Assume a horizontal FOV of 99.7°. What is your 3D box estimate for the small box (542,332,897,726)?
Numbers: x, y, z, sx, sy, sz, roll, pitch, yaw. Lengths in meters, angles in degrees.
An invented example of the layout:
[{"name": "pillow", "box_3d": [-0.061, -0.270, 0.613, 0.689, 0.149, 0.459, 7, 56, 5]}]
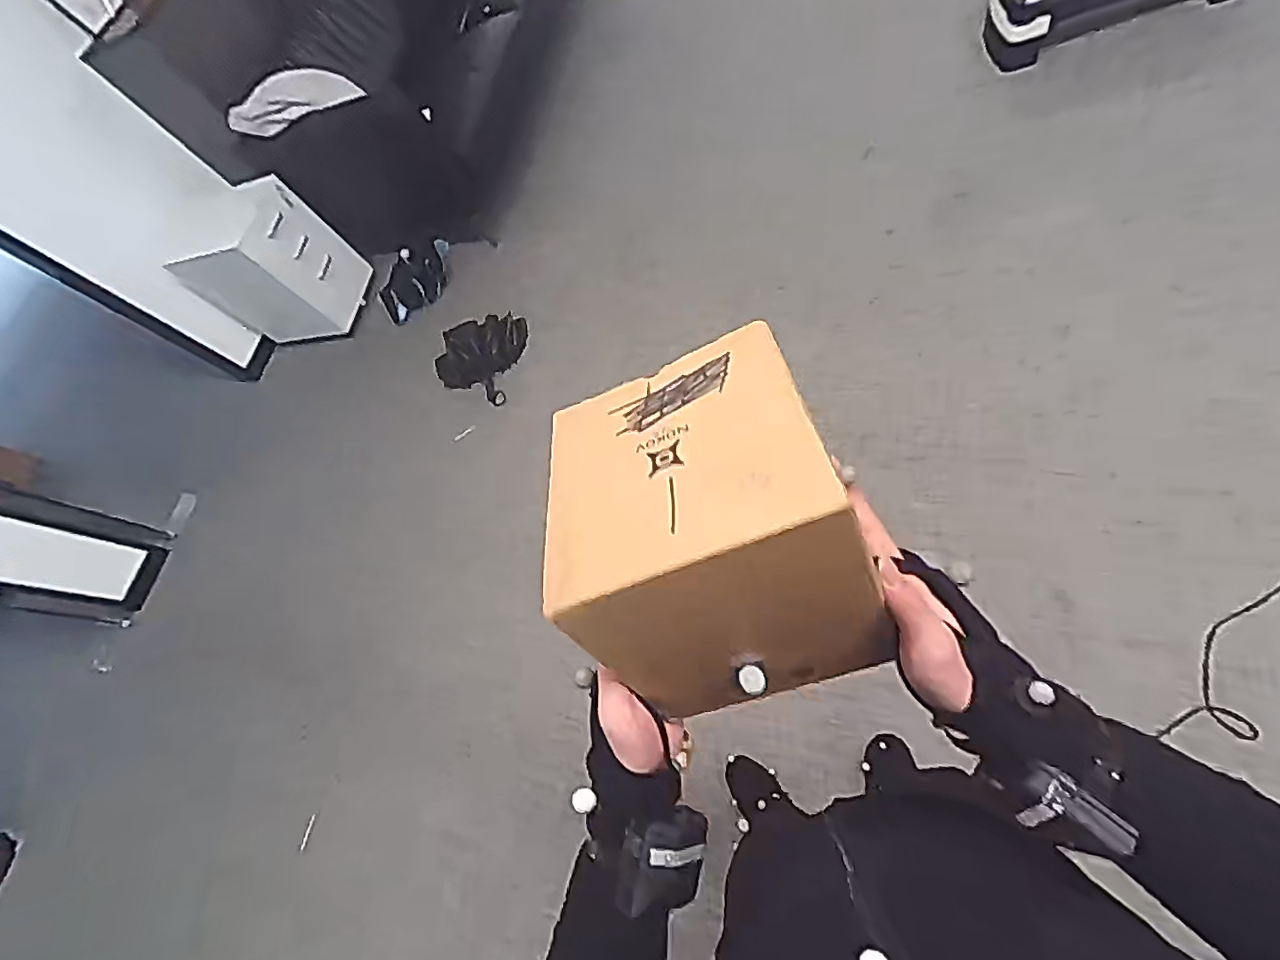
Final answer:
[{"name": "small box", "box_3d": [0.053, 0.039, 0.371, 0.168, 0.176, 0.179, -23, 42, 16]}]
